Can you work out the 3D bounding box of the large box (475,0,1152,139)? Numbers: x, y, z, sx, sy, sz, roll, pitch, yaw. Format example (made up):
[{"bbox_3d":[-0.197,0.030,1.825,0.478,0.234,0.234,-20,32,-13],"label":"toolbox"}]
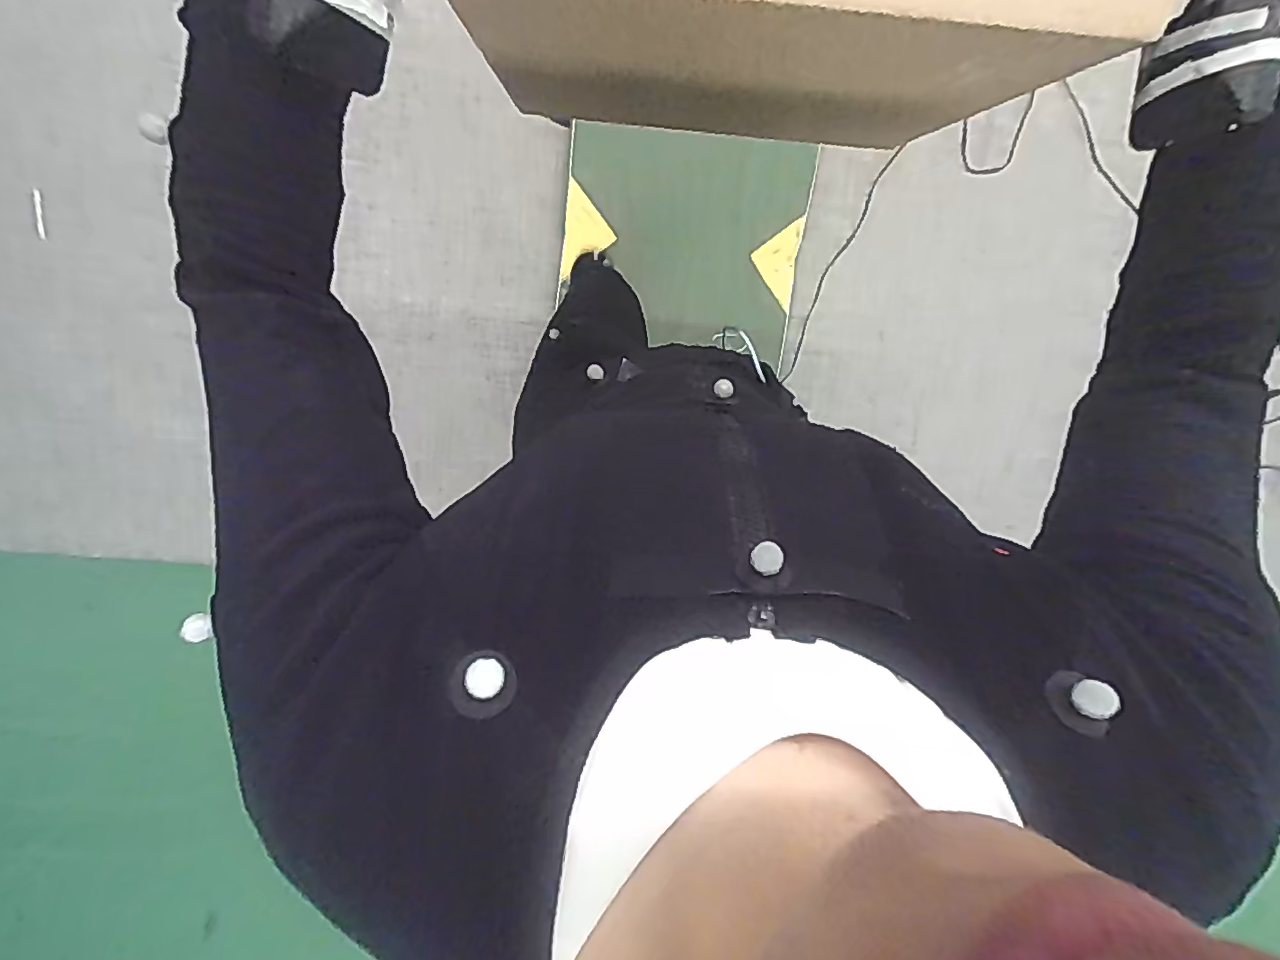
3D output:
[{"bbox_3d":[0.092,-0.463,0.382,0.408,0.320,0.320,2,112,-5],"label":"large box"}]
